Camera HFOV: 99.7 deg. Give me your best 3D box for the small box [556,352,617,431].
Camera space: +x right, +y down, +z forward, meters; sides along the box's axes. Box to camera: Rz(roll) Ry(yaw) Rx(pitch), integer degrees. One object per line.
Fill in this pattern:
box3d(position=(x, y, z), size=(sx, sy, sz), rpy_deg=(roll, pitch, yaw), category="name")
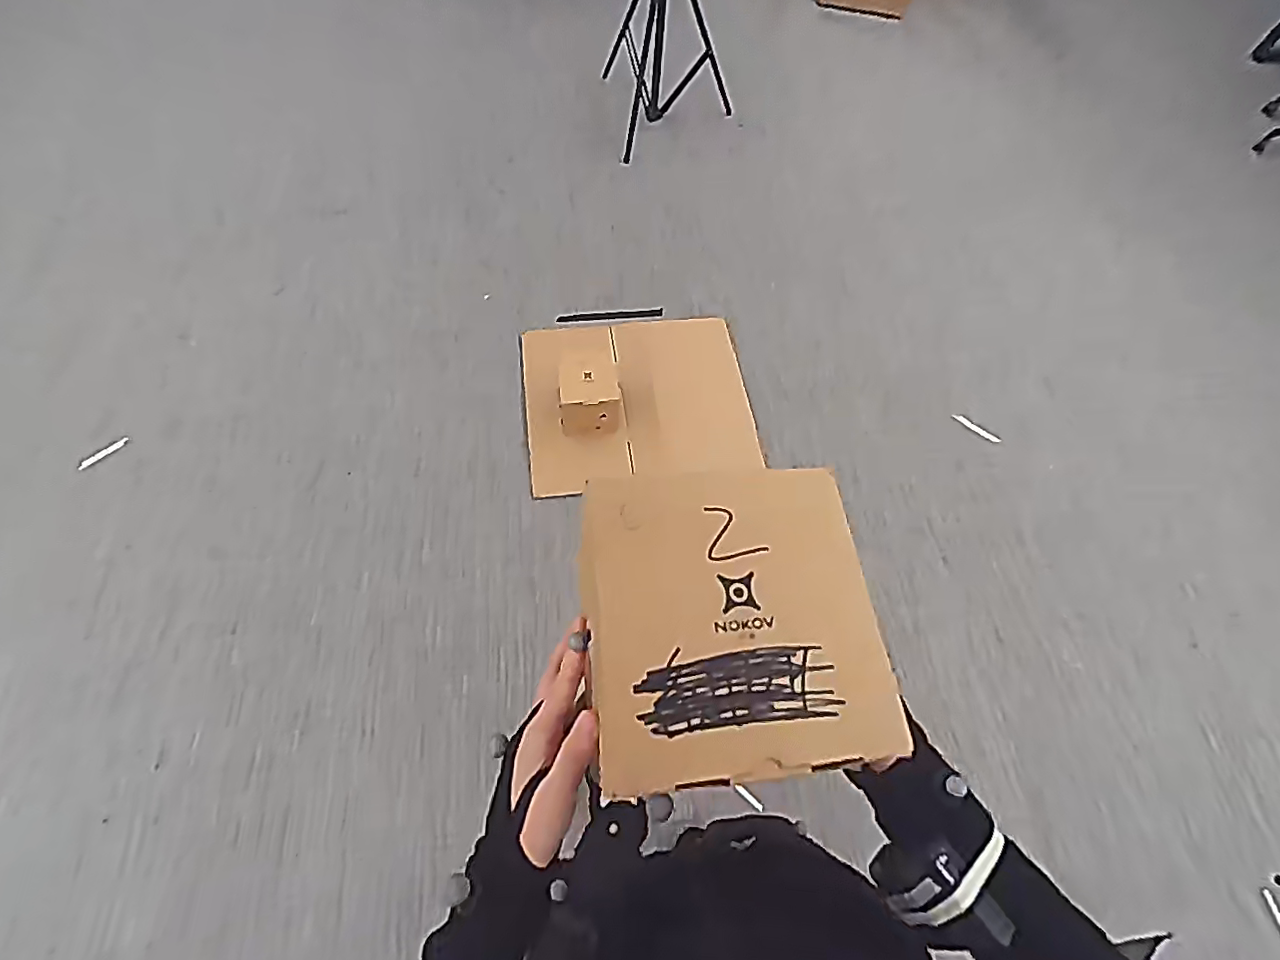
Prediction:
box3d(position=(-0.157, -0.255, 1.600), size=(0.168, 0.176, 0.179), rpy_deg=(-5, 64, -8), category="small box")
